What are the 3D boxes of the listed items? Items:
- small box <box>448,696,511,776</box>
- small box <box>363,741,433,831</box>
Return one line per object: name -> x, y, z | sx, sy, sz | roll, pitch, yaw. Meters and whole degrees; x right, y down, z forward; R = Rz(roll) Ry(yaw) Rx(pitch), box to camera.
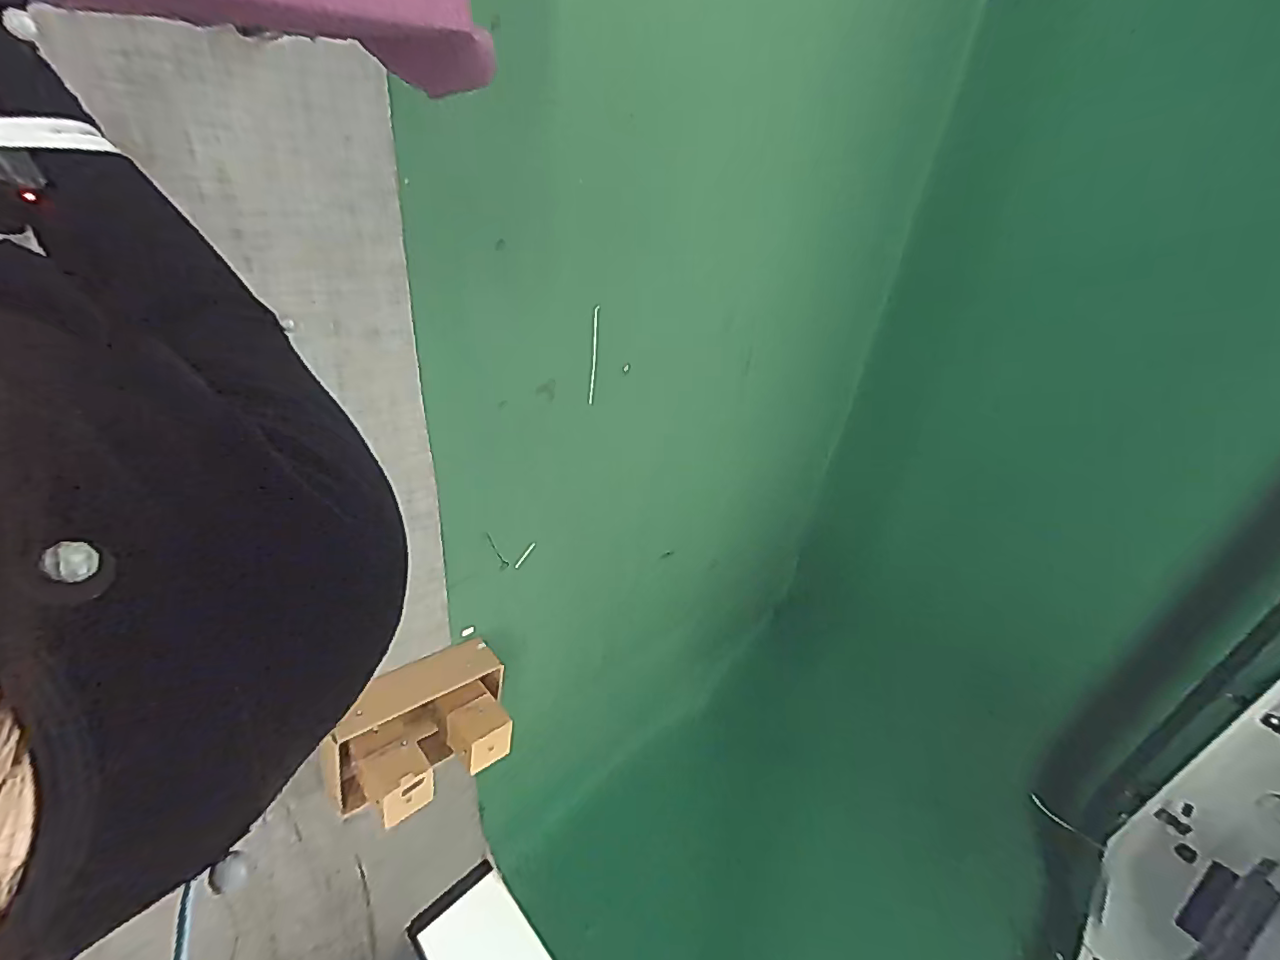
small box -> -0.605, 0.957, 2.033 | 0.168, 0.176, 0.179 | -15, 125, -44
small box -> -0.814, 1.015, 1.815 | 0.168, 0.176, 0.179 | -18, 128, -44
